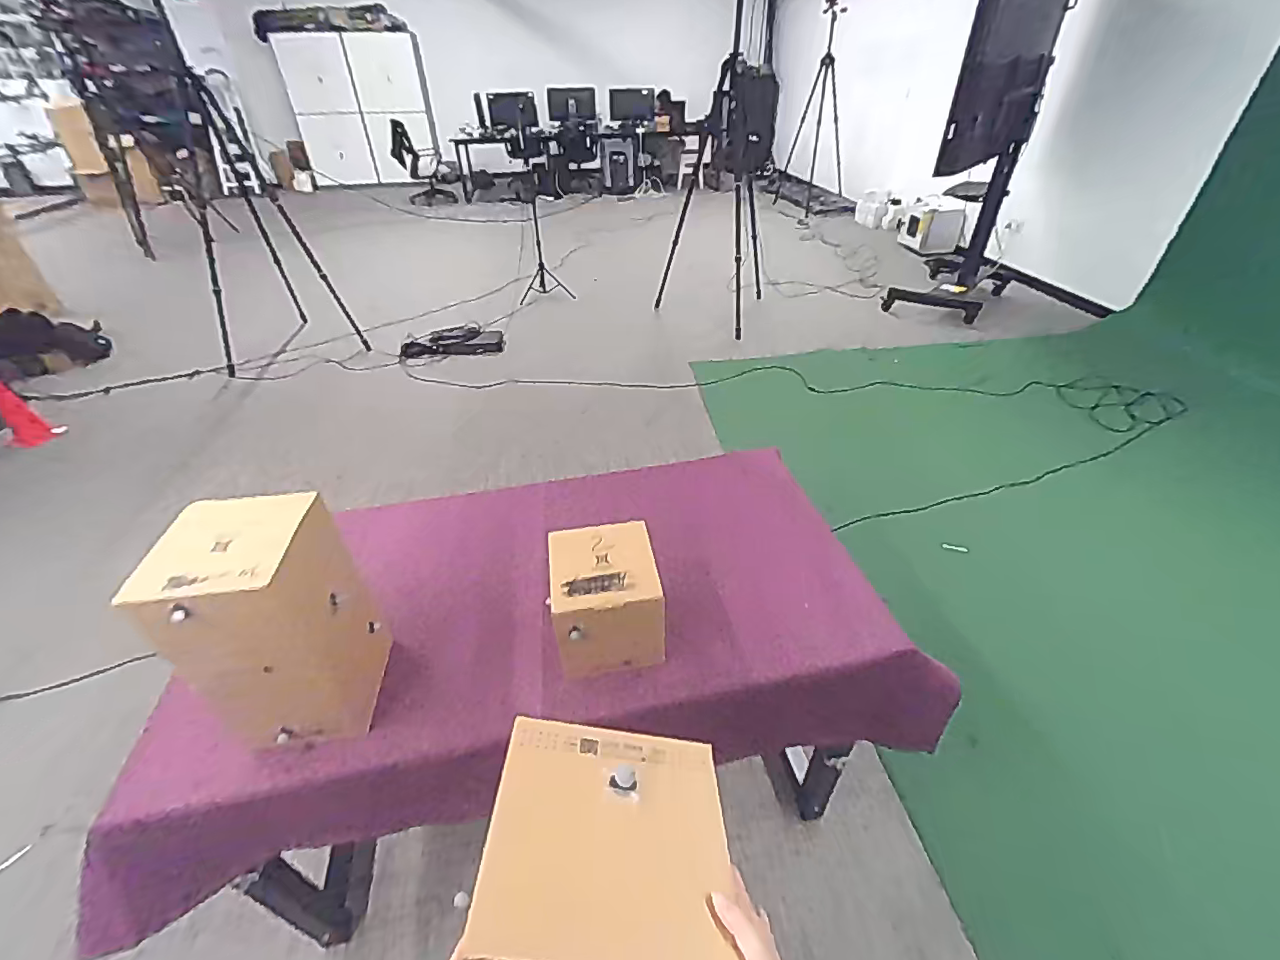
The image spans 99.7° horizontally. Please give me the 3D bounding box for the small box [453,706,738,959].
[{"bbox_3d":[-0.040,0.308,0.408,0.168,0.179,0.176,11,20,-6],"label":"small box"}]

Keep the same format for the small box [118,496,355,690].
[{"bbox_3d":[-0.503,0.146,0.713,0.168,0.176,0.179,-7,37,-4],"label":"small box"}]
